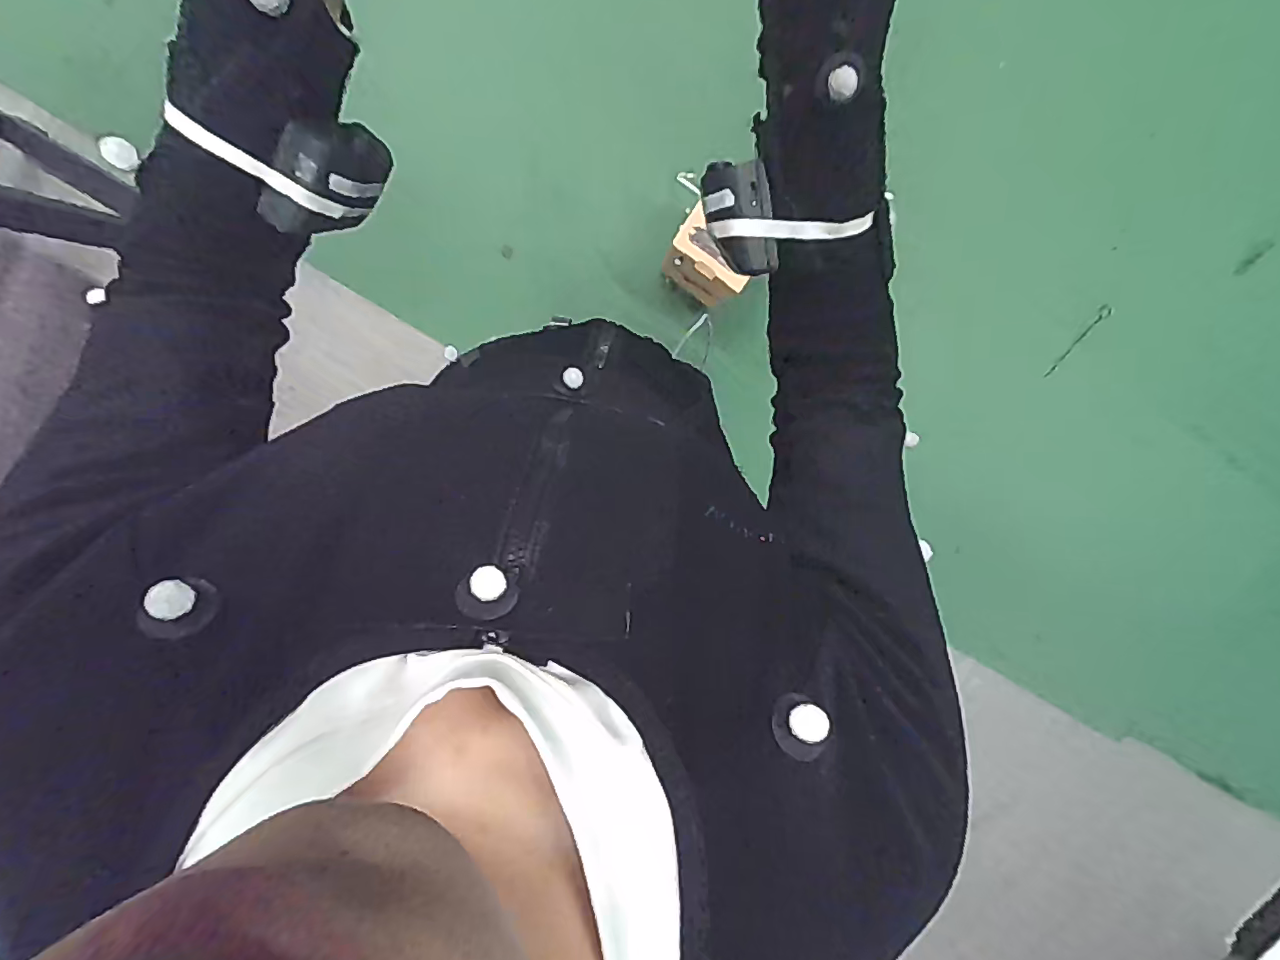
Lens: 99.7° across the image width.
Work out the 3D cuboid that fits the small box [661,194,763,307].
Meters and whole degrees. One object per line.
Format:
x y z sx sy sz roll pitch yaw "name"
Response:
0.161 -0.532 1.286 0.168 0.176 0.179 34 99 -9 "small box"
